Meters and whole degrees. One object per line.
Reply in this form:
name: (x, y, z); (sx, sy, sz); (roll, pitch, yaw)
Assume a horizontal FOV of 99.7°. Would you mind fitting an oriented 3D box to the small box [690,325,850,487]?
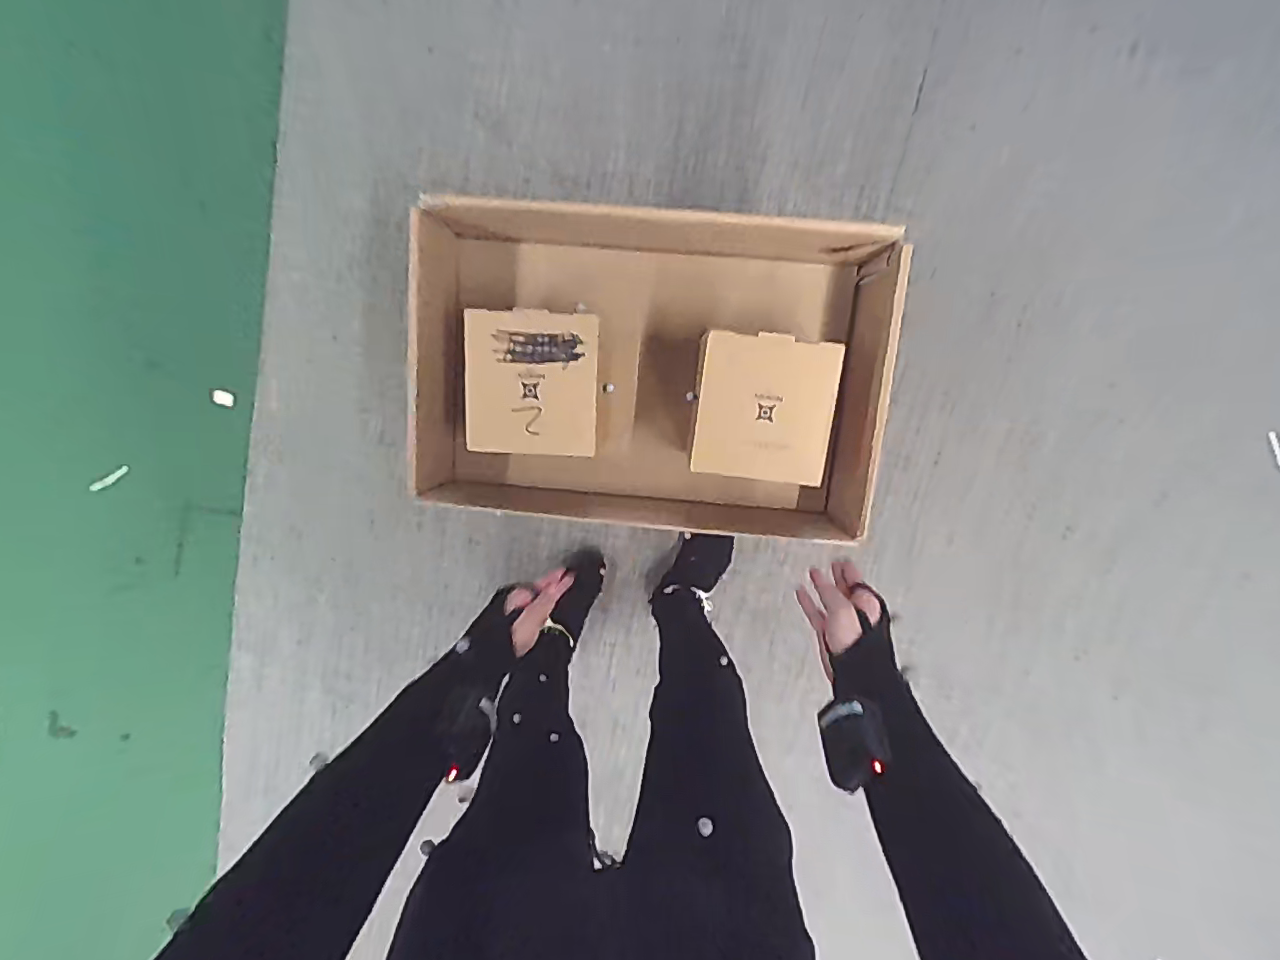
small box: (0.161, -0.099, 0.728); (0.168, 0.176, 0.179); (8, 99, 2)
